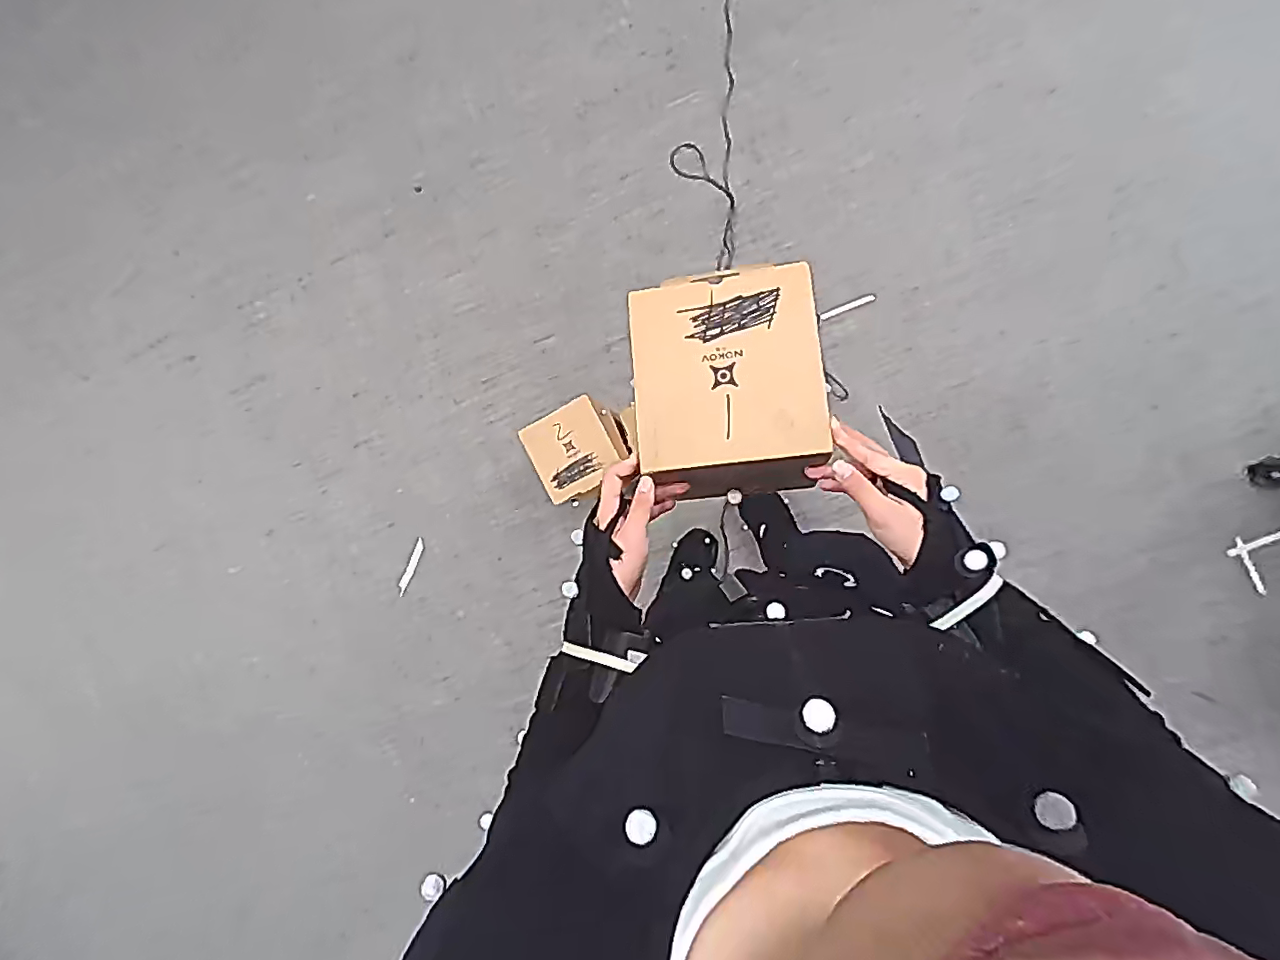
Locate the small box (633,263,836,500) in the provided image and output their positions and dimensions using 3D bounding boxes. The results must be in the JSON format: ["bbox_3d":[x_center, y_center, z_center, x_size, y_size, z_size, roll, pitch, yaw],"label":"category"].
[{"bbox_3d":[0.094,-0.085,0.552,0.168,0.176,0.179,-7,77,12],"label":"small box"}]
